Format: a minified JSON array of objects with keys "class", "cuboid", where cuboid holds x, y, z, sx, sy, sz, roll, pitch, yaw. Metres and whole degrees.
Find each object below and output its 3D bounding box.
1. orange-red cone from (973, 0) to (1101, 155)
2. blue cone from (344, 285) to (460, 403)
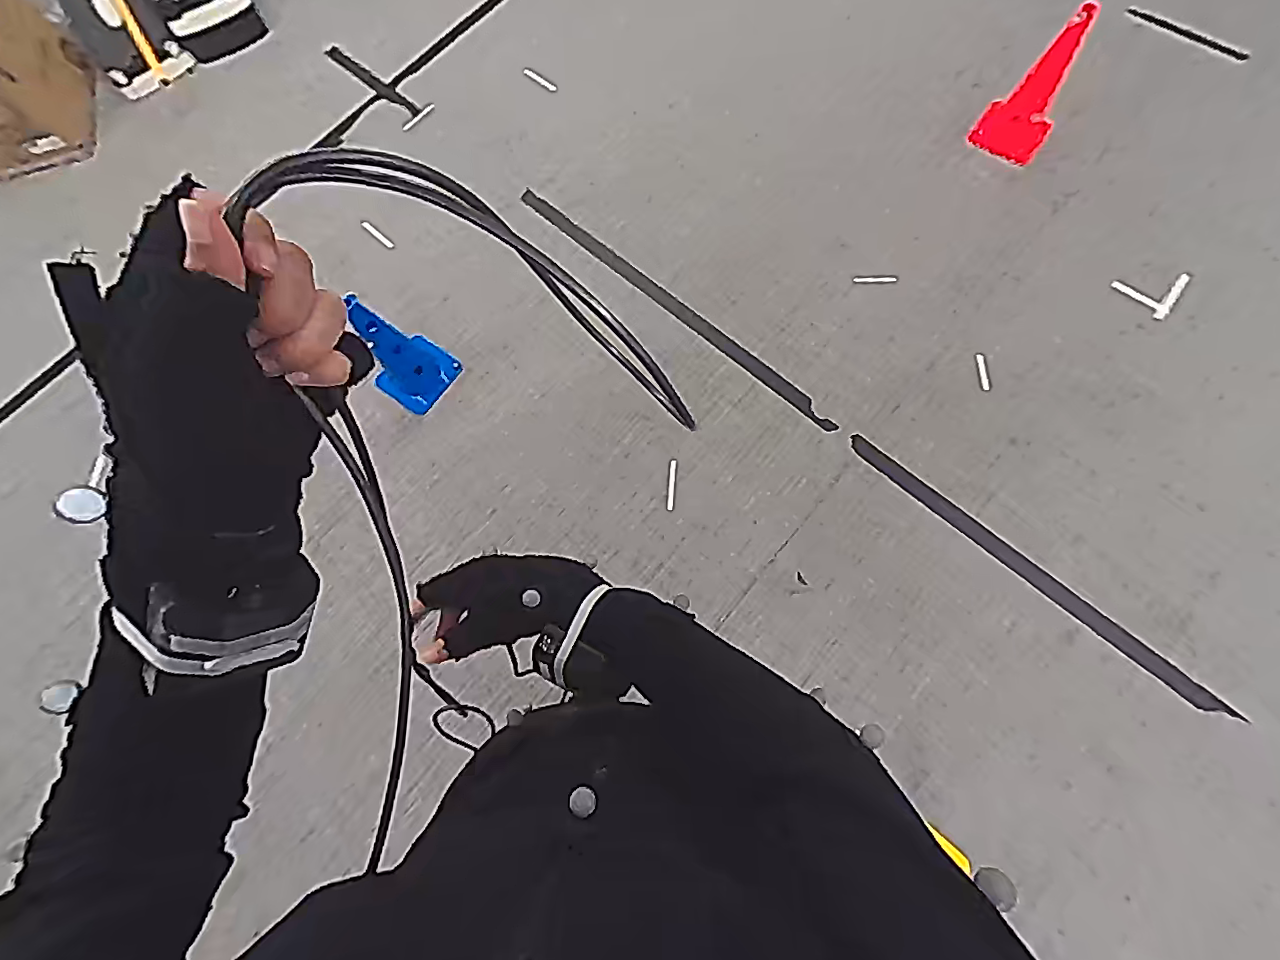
[{"class":"orange-red cone","cuboid":[1.139,-1.147,1.503,0.199,0.360,0.198,36,79,15]},{"class":"blue cone","cuboid":[-0.657,-0.373,1.421,0.193,0.380,0.192,35,79,13]}]
